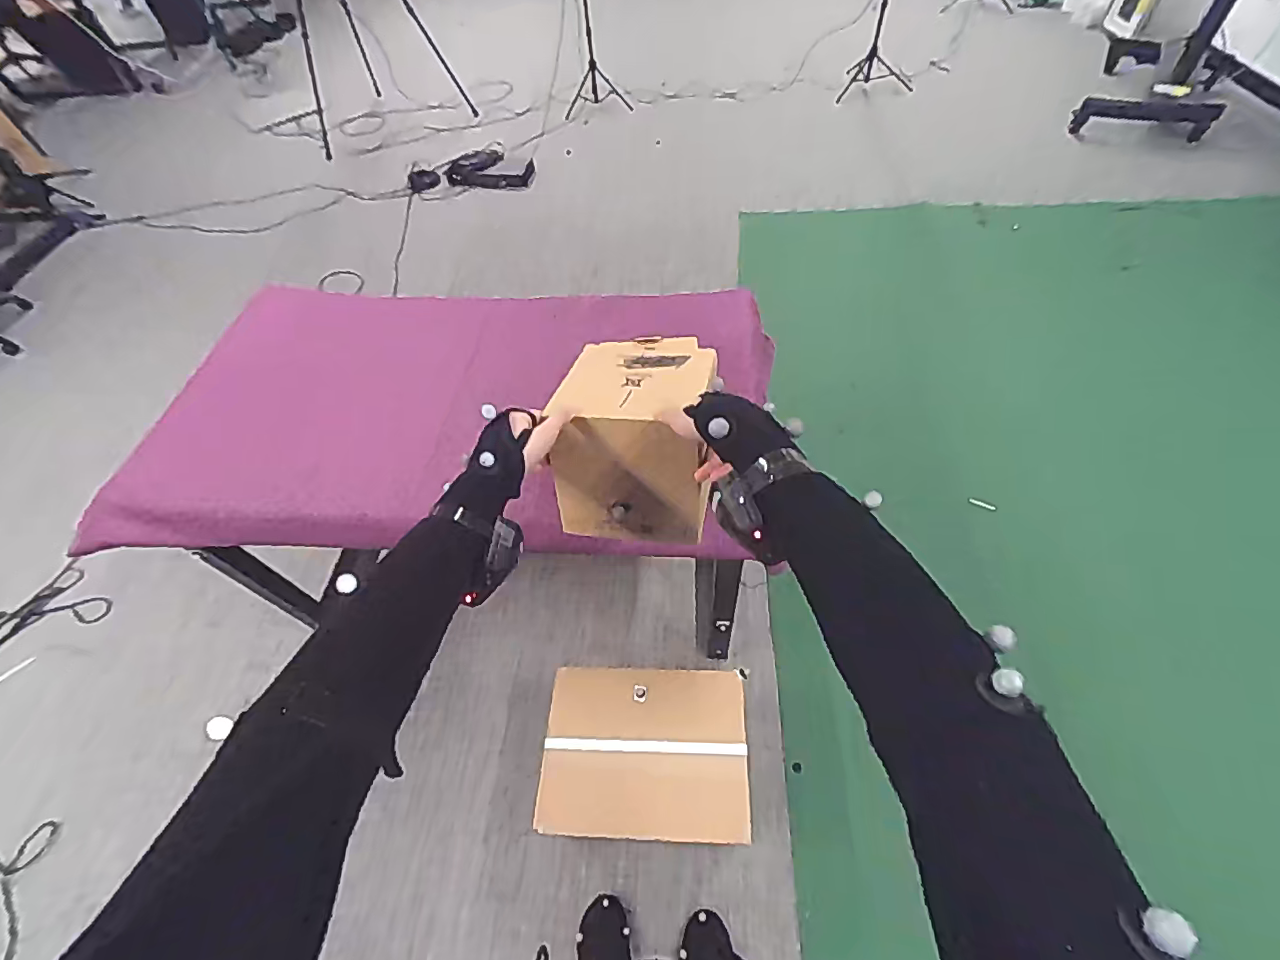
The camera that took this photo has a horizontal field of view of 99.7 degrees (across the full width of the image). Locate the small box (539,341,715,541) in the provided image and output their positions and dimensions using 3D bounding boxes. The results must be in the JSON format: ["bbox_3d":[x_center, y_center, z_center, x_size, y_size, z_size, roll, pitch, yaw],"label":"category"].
[{"bbox_3d":[-0.003,-0.052,0.646,0.168,0.176,0.179,4,38,12],"label":"small box"}]
